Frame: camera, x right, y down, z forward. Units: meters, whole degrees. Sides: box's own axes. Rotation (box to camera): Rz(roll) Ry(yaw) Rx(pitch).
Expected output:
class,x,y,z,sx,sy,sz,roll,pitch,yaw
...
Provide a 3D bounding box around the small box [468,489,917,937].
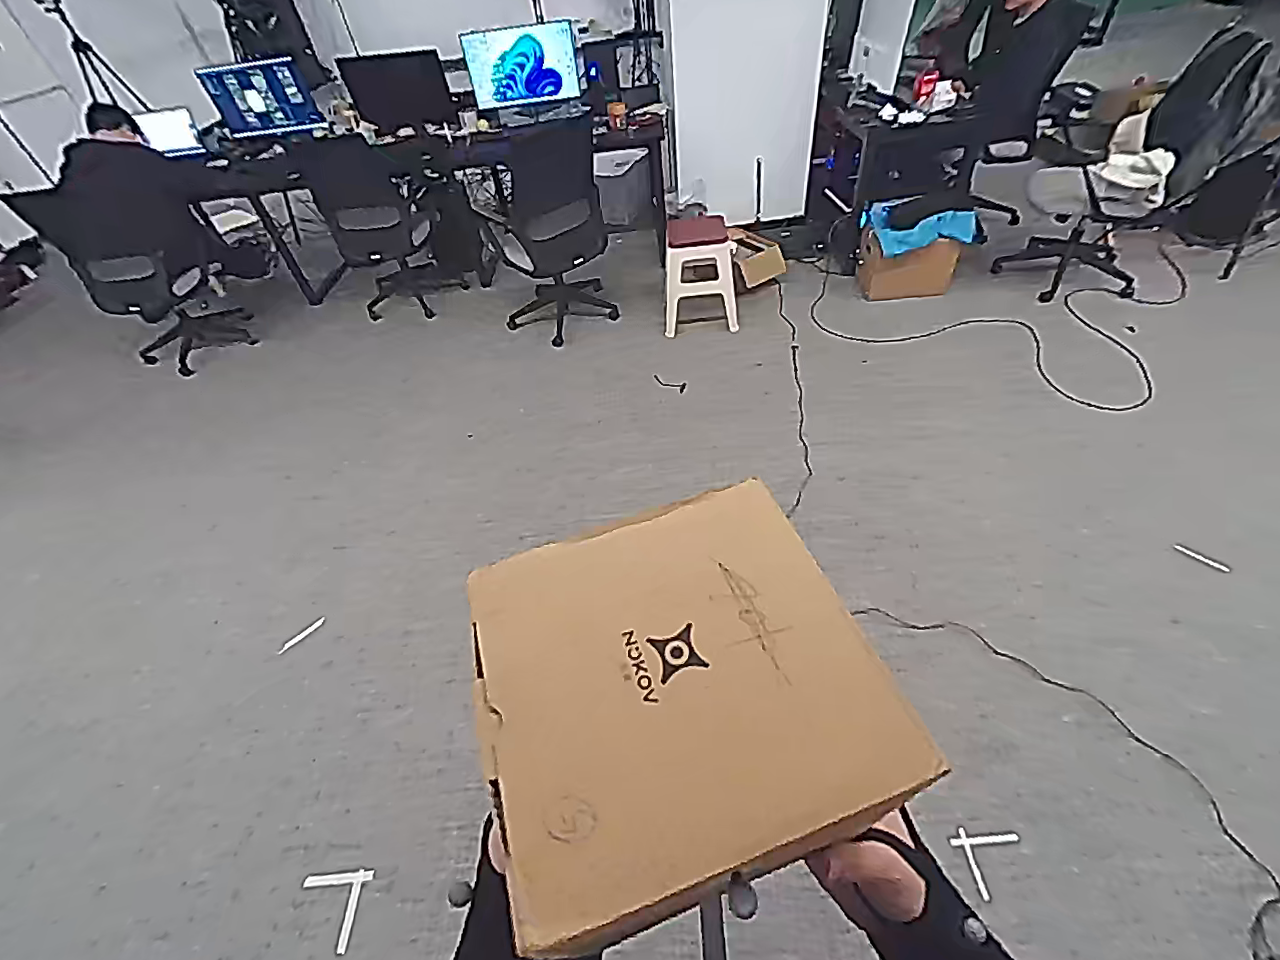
class,x,y,z,sx,sy,sz,roll,pitch,yaw
small box,0.018,0.139,0.323,0.179,0.176,0.168,-18,51,-9
